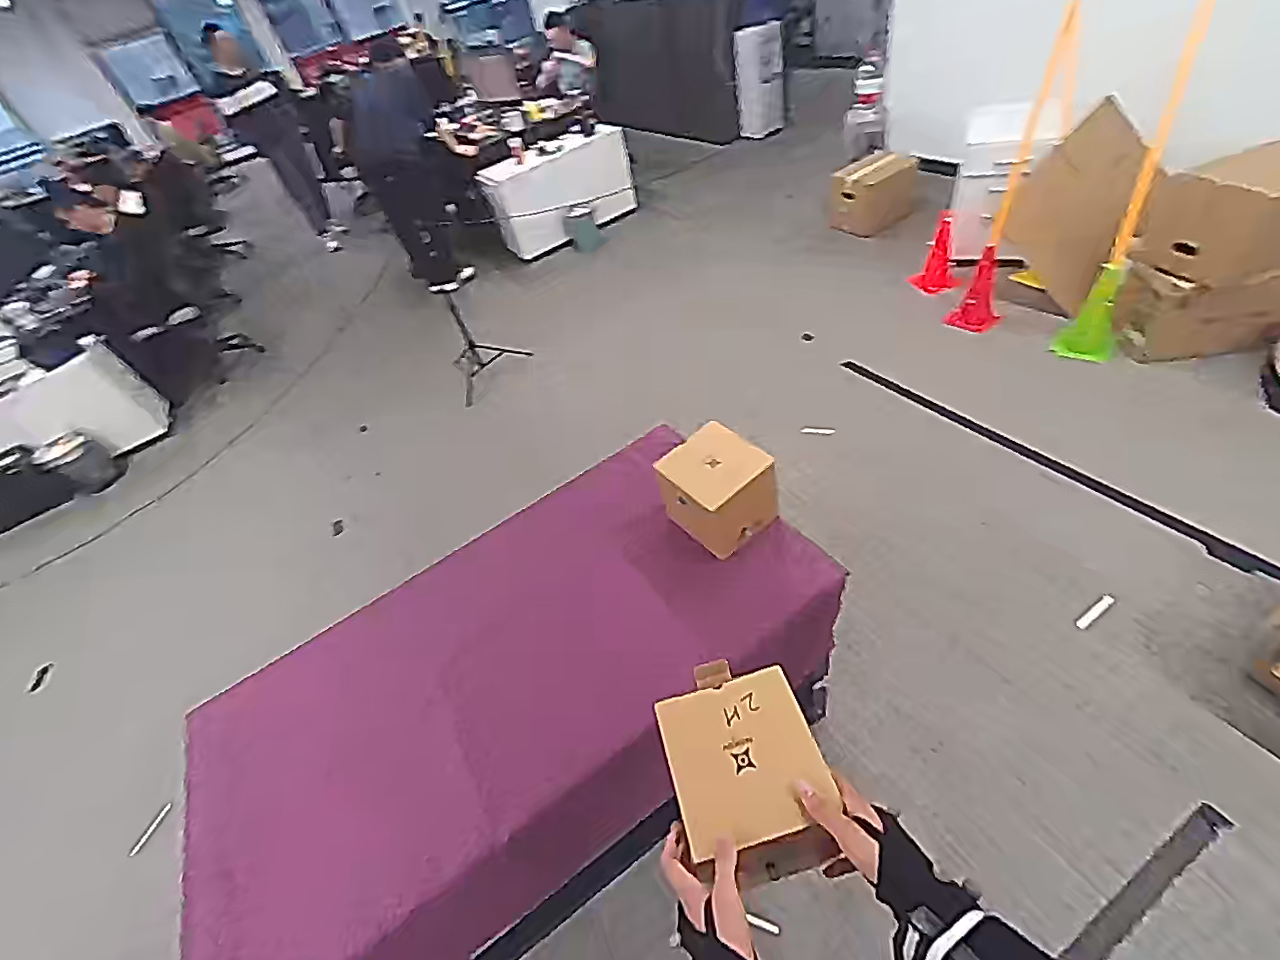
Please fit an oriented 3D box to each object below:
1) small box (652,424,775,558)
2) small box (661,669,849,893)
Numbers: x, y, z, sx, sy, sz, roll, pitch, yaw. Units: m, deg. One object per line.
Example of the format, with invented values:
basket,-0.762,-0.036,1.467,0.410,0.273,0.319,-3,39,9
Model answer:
small box,0.152,0.024,1.089,0.168,0.176,0.179,-37,48,-16
small box,0.133,0.367,0.653,0.168,0.176,0.179,-15,39,-2
